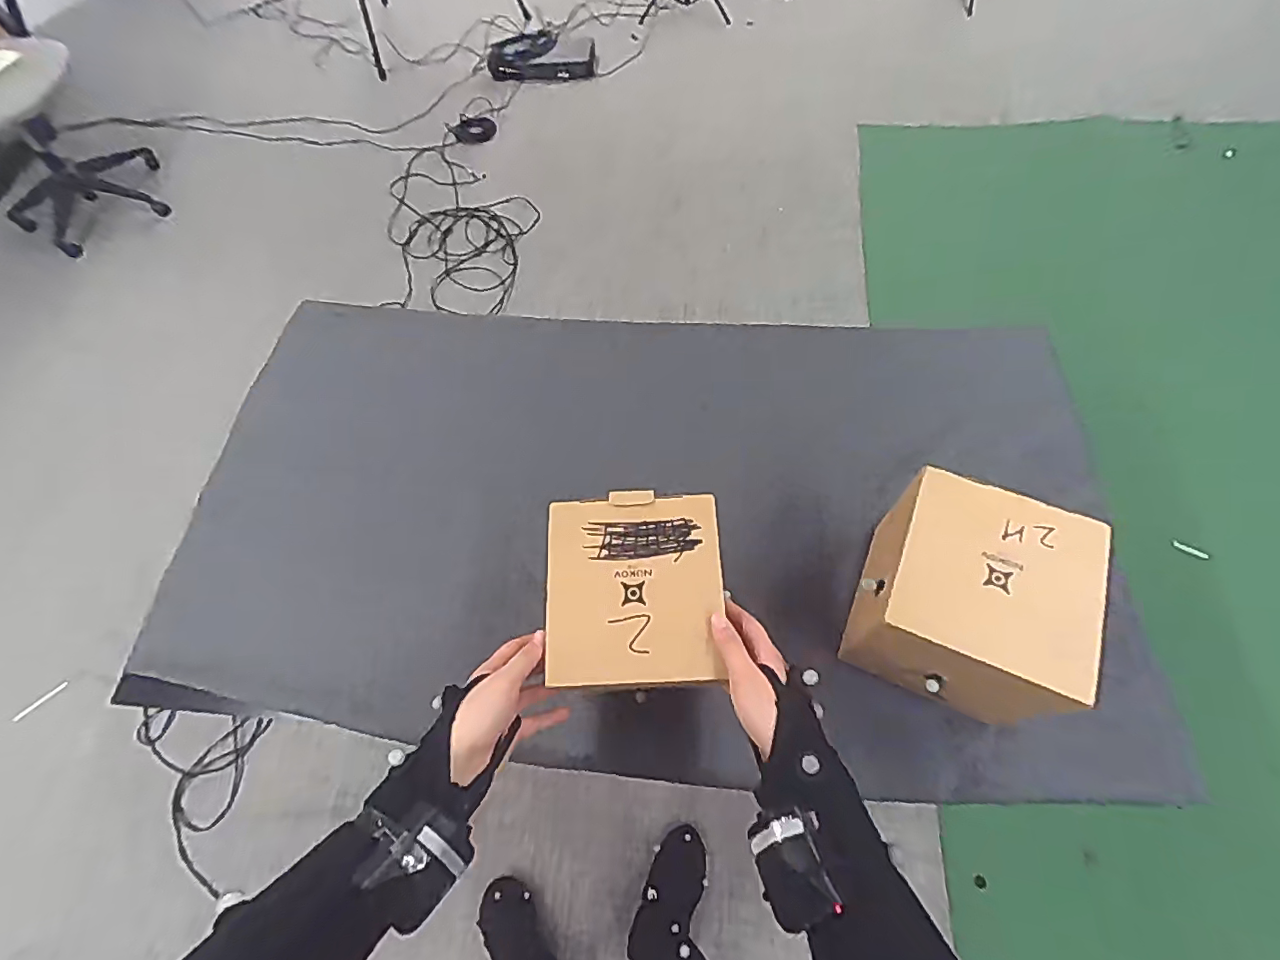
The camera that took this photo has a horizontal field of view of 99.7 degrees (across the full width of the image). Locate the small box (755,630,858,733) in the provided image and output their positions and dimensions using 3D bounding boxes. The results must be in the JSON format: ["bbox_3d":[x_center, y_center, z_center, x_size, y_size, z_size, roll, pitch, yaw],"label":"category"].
[{"bbox_3d":[0.363,0.452,1.198,0.179,0.176,0.168,15,66,10],"label":"small box"}]

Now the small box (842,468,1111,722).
[{"bbox_3d":[0.320,0.123,0.546,0.168,0.176,0.179,22,65,15],"label":"small box"}]

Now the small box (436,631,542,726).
[{"bbox_3d":[-0.340,0.466,1.258,0.168,0.176,0.179,6,64,8],"label":"small box"}]
